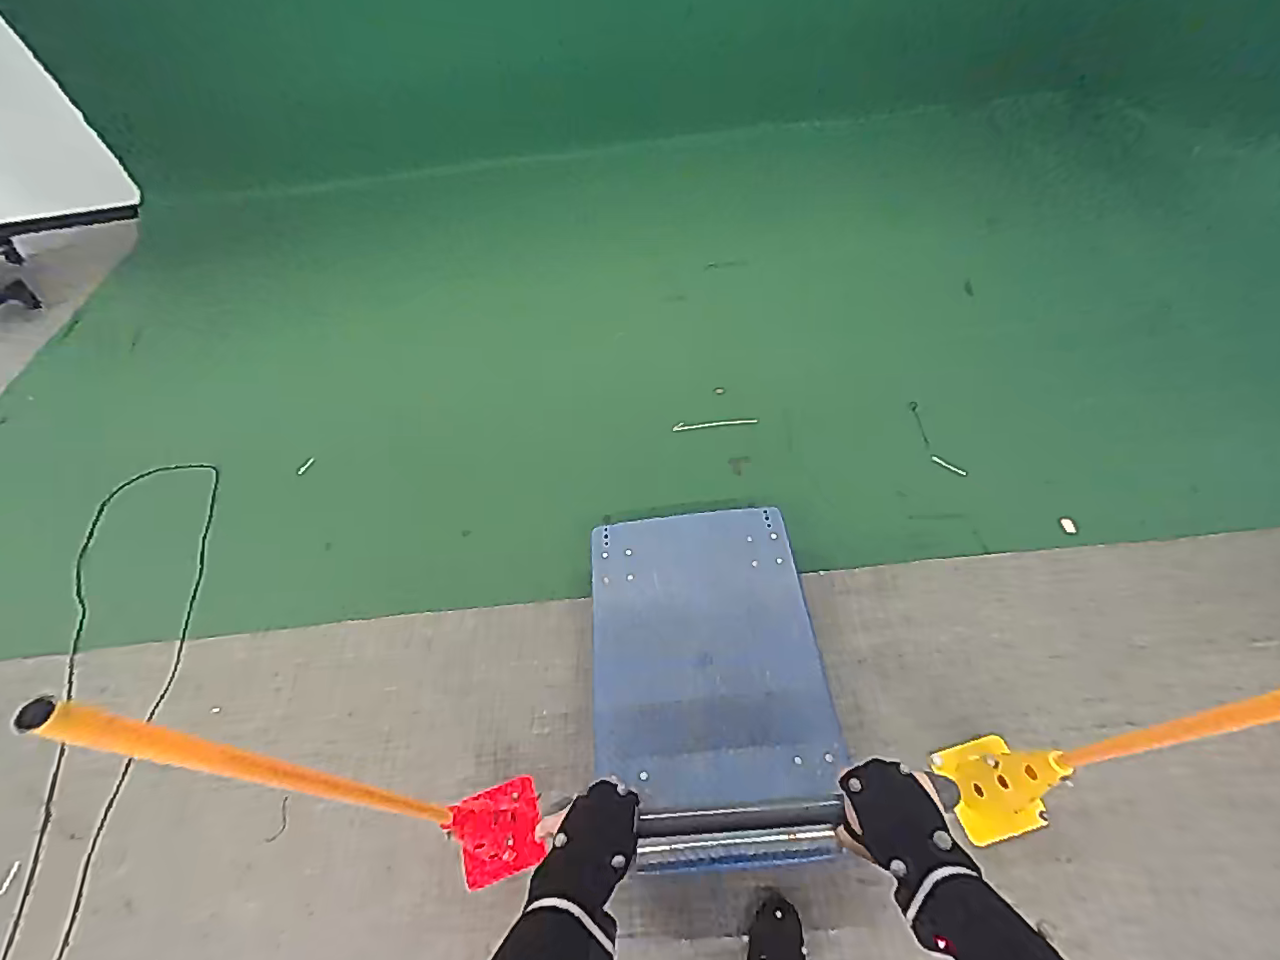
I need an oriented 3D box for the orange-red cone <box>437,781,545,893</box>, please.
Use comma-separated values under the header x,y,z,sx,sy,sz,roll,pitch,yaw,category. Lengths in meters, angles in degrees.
x,y,z,sx,sy,sz,roll,pitch,yaw,category
-0.361,0.773,1.194,0.199,0.360,0.198,-19,53,-6,orange-red cone
